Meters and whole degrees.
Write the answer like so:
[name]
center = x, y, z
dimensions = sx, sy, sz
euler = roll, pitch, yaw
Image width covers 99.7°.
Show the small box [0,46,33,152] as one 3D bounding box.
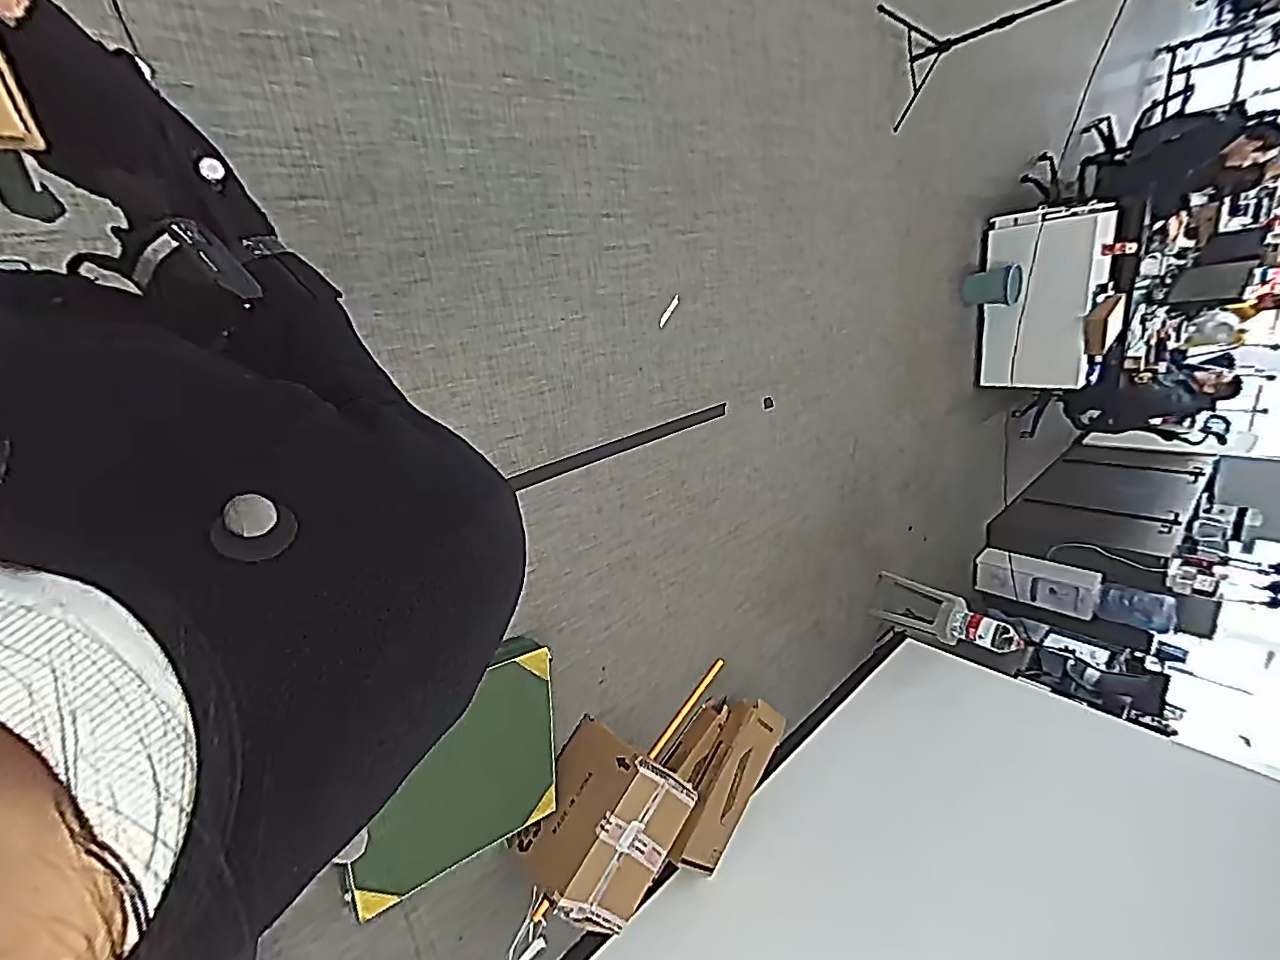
[small box]
center = -0.349, -0.207, 0.166
dimensions = 0.176, 0.168, 0.179
euler = -24, 127, -37
